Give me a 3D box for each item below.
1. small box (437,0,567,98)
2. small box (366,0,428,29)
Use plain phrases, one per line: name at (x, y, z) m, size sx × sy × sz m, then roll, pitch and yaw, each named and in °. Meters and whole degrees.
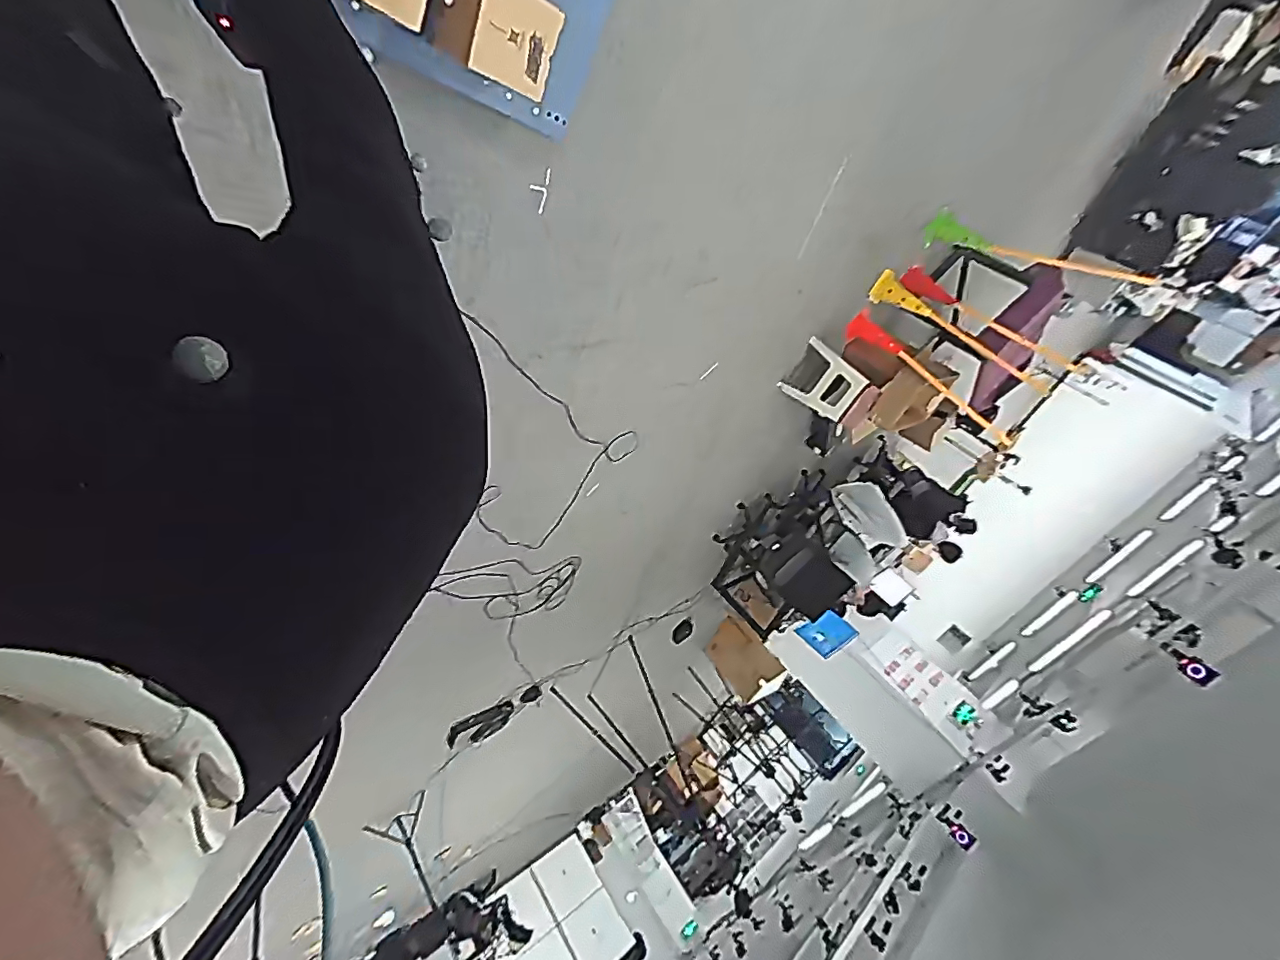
small box at (-0.285, -0.926, 1.104) m, size 0.179 × 0.176 × 0.168 m, roll -7°, pitch 133°, yaw -45°
small box at (-0.463, -0.916, 0.909) m, size 0.179 × 0.176 × 0.168 m, roll -4°, pitch 131°, yaw -47°
